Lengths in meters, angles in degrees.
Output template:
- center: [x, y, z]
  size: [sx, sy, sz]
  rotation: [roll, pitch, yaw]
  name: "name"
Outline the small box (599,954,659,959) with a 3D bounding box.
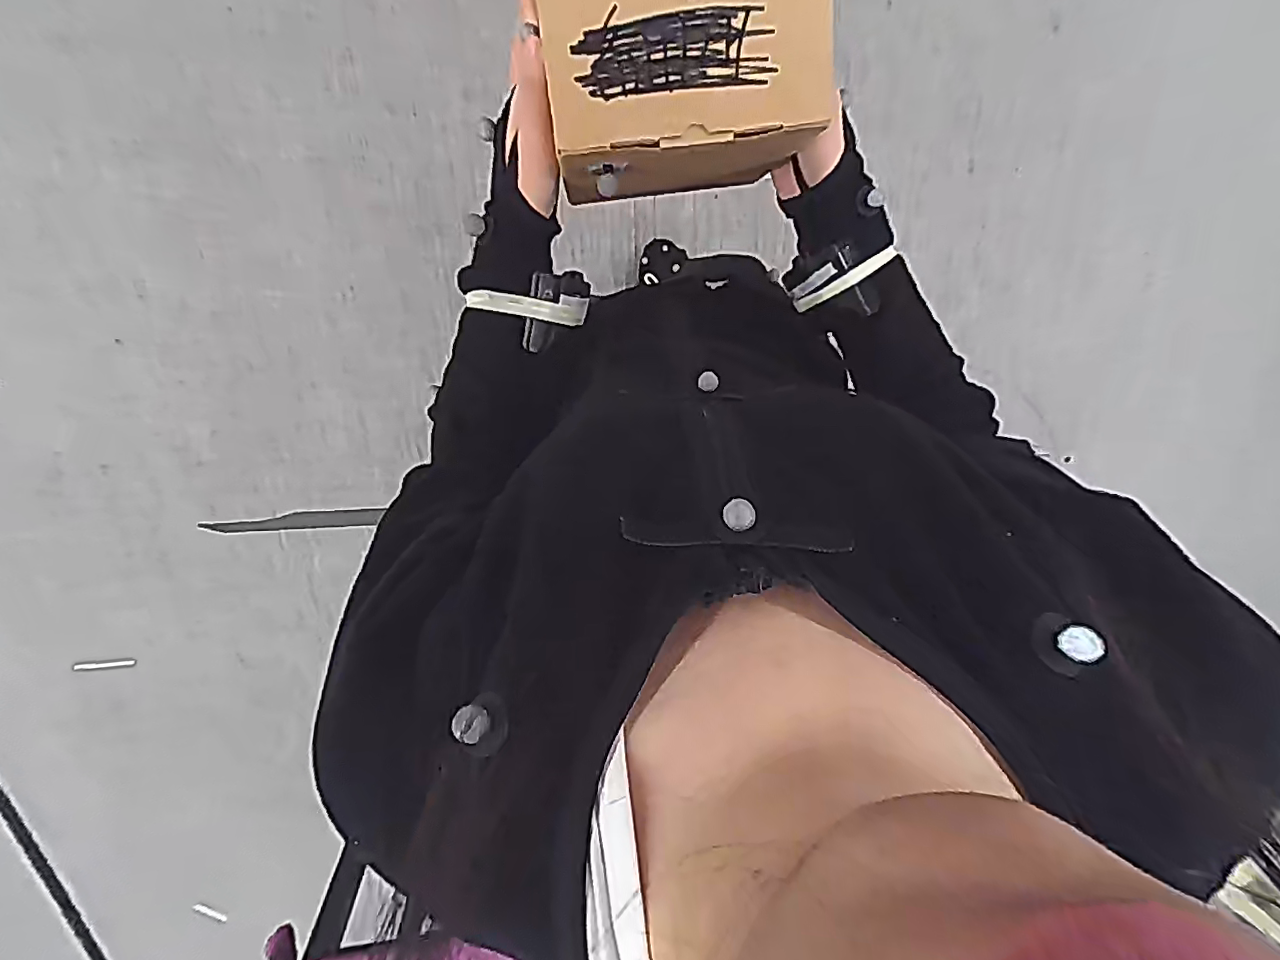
- center: [-0.029, 1.114, 1.095]
  size: [0.168, 0.176, 0.179]
  rotation: [-1, 112, -8]
  name: "small box"
